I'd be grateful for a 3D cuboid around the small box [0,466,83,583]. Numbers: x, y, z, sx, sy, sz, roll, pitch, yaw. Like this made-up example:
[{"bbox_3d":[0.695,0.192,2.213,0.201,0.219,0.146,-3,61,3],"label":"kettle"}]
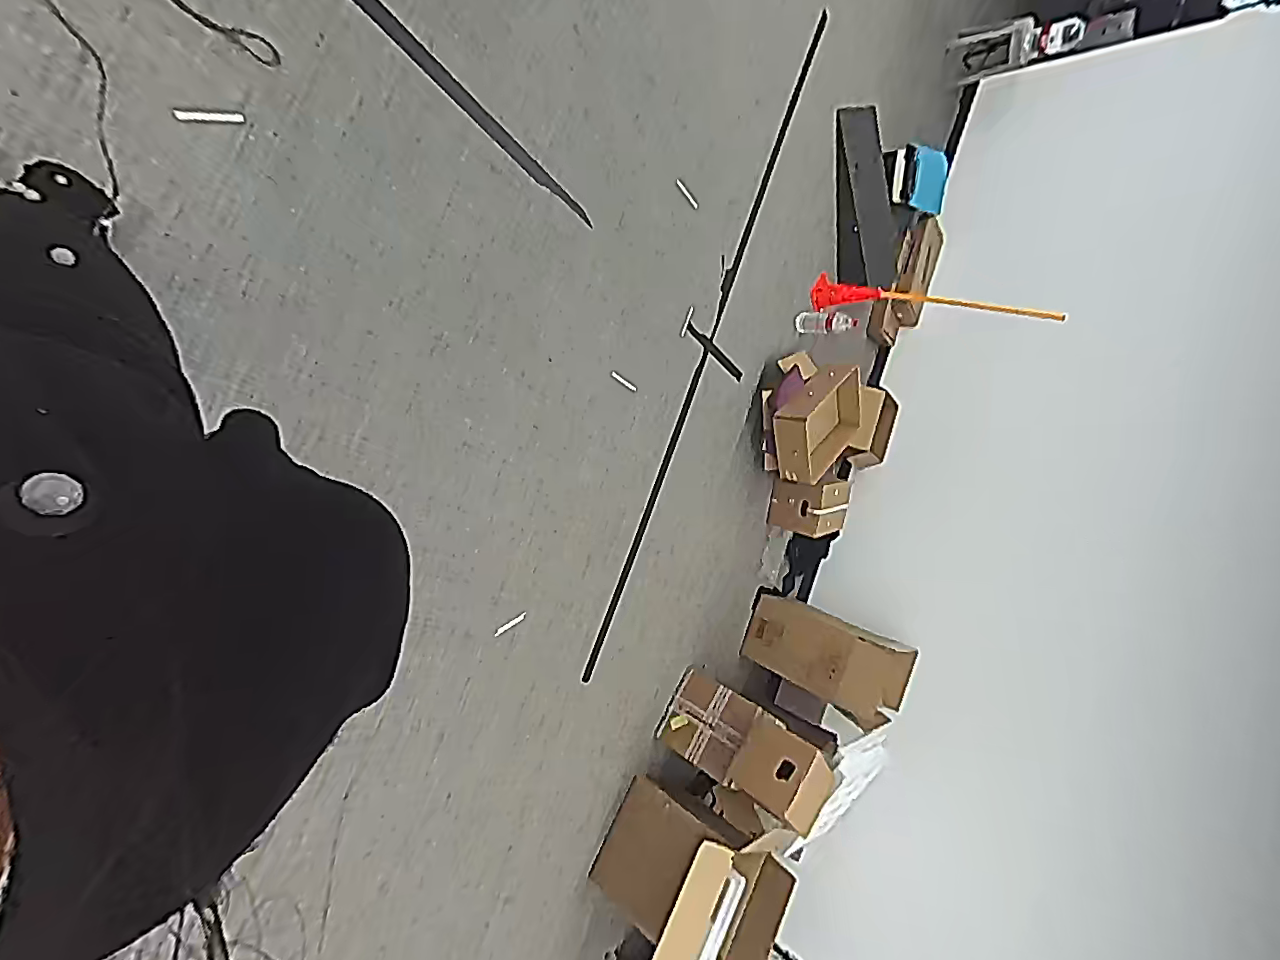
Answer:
[{"bbox_3d":[-1.113,0.072,0.942,0.168,0.176,0.179,12,92,-50],"label":"small box"}]
